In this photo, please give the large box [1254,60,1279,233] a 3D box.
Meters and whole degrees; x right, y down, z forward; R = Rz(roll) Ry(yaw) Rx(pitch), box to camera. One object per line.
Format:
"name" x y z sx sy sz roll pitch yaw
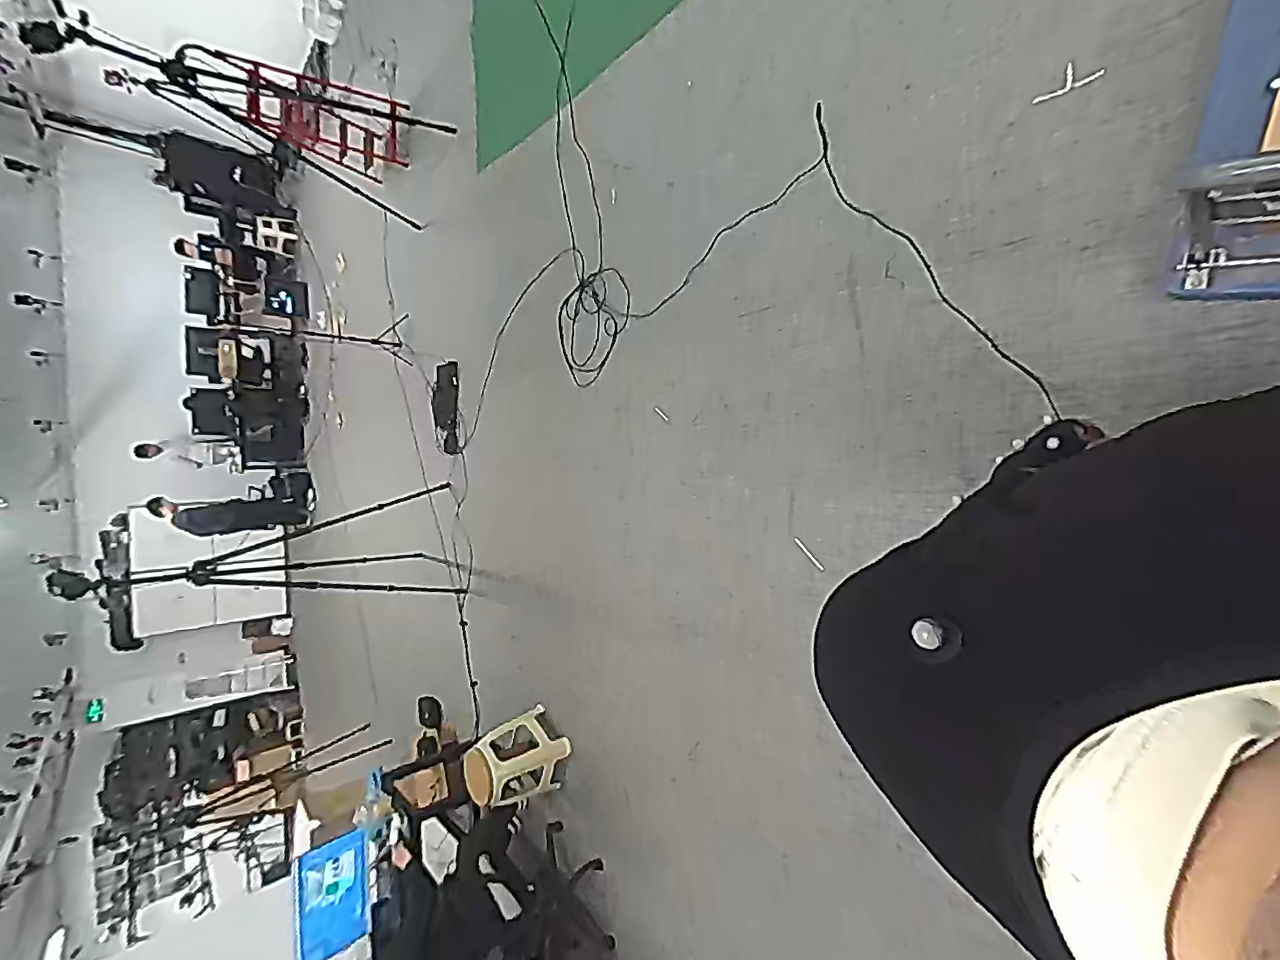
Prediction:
"large box" 1.136 -0.618 0.756 0.320 0.320 0.408 16 102 45
